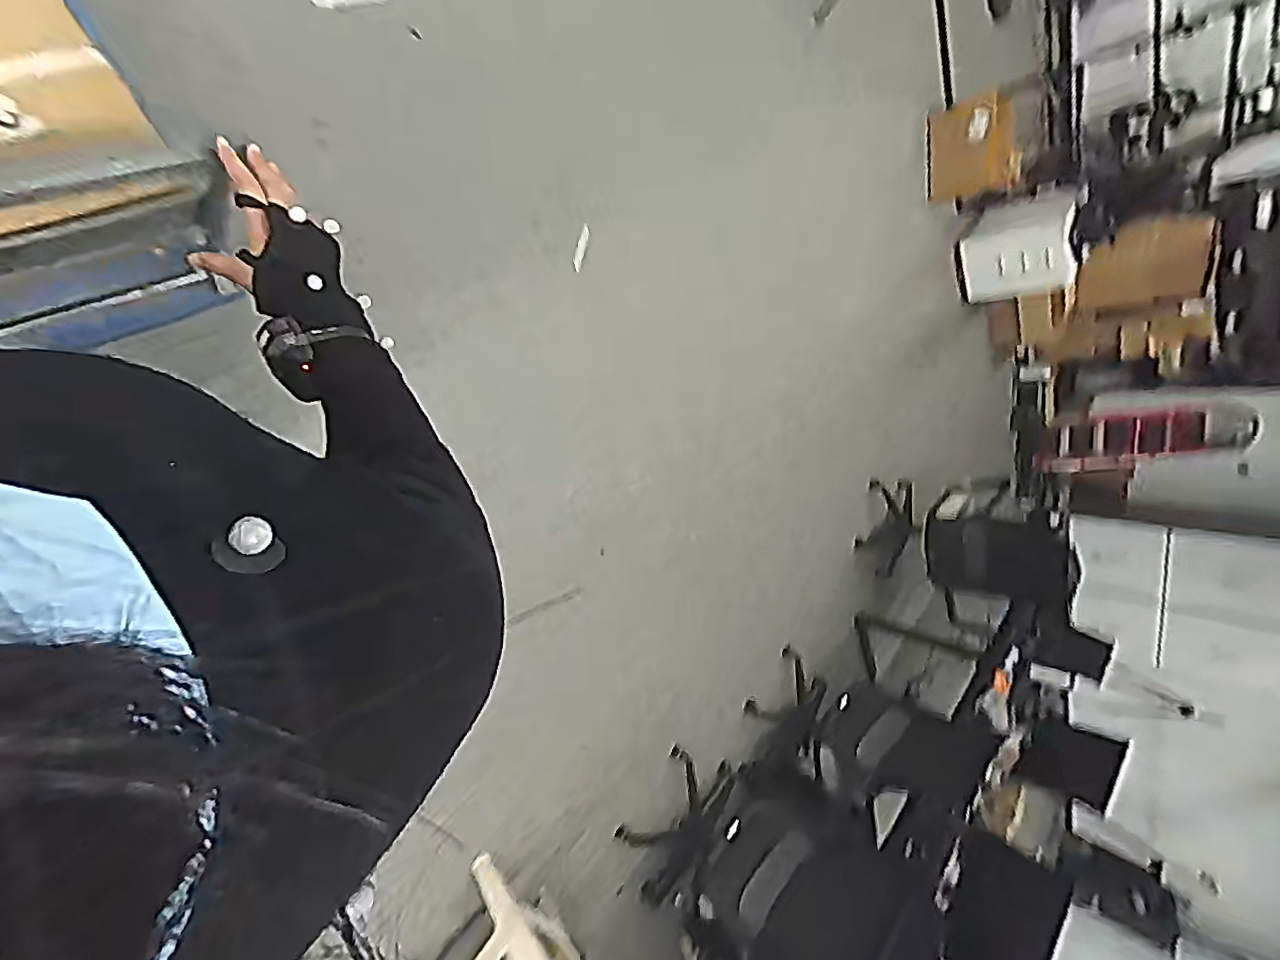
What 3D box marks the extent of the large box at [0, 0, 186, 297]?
[{"bbox_3d":[-0.940,-0.447,0.729,0.408,0.320,0.320,-42,122,-31],"label":"large box"}]
